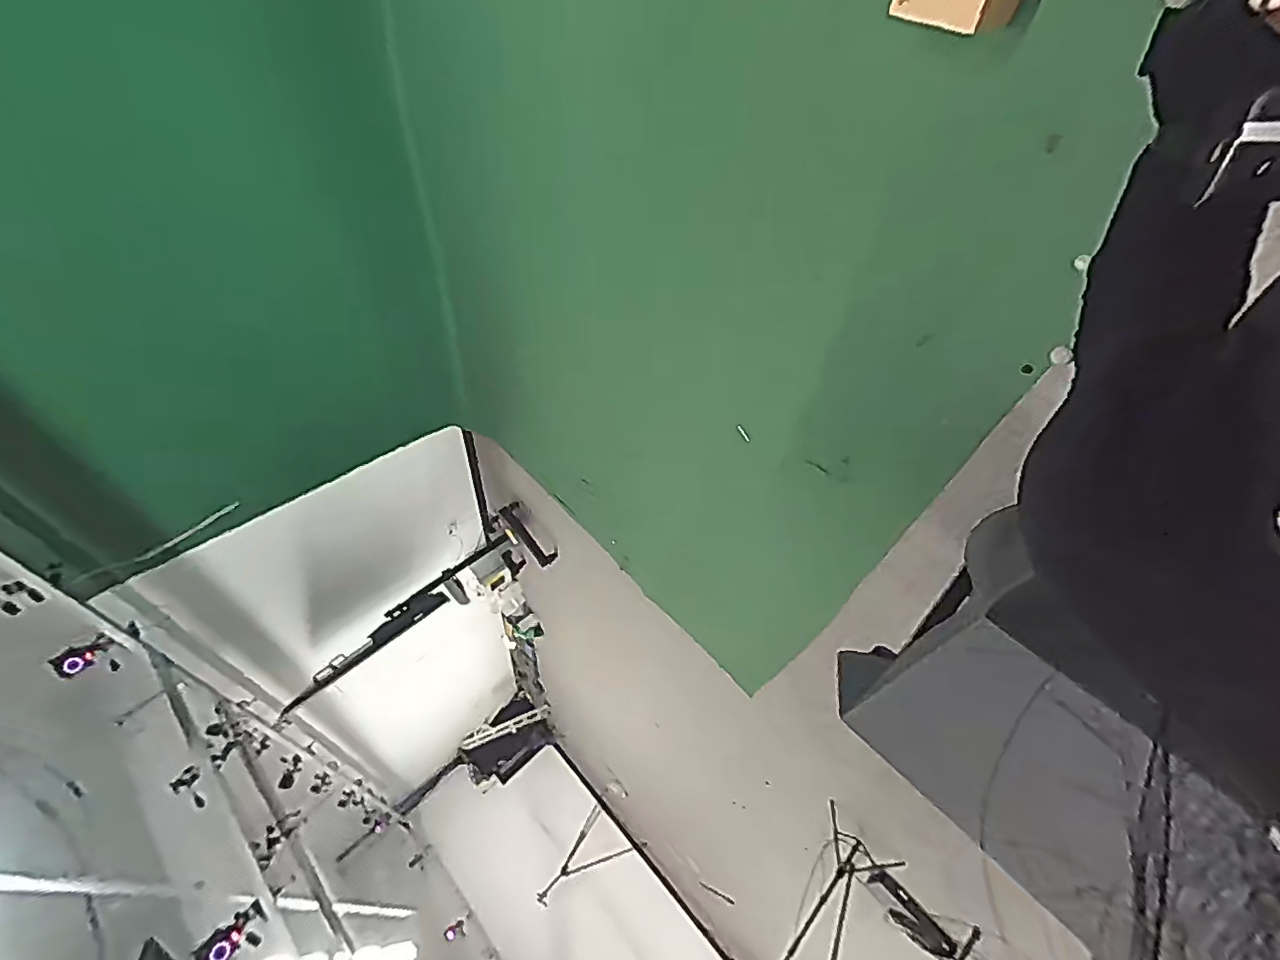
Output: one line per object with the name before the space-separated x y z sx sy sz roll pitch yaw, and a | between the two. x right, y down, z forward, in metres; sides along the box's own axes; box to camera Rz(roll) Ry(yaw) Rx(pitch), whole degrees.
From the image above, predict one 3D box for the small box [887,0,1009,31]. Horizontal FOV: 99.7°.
small box | 0.602 -0.958 0.992 0.179 0.176 0.168 39 147 23
